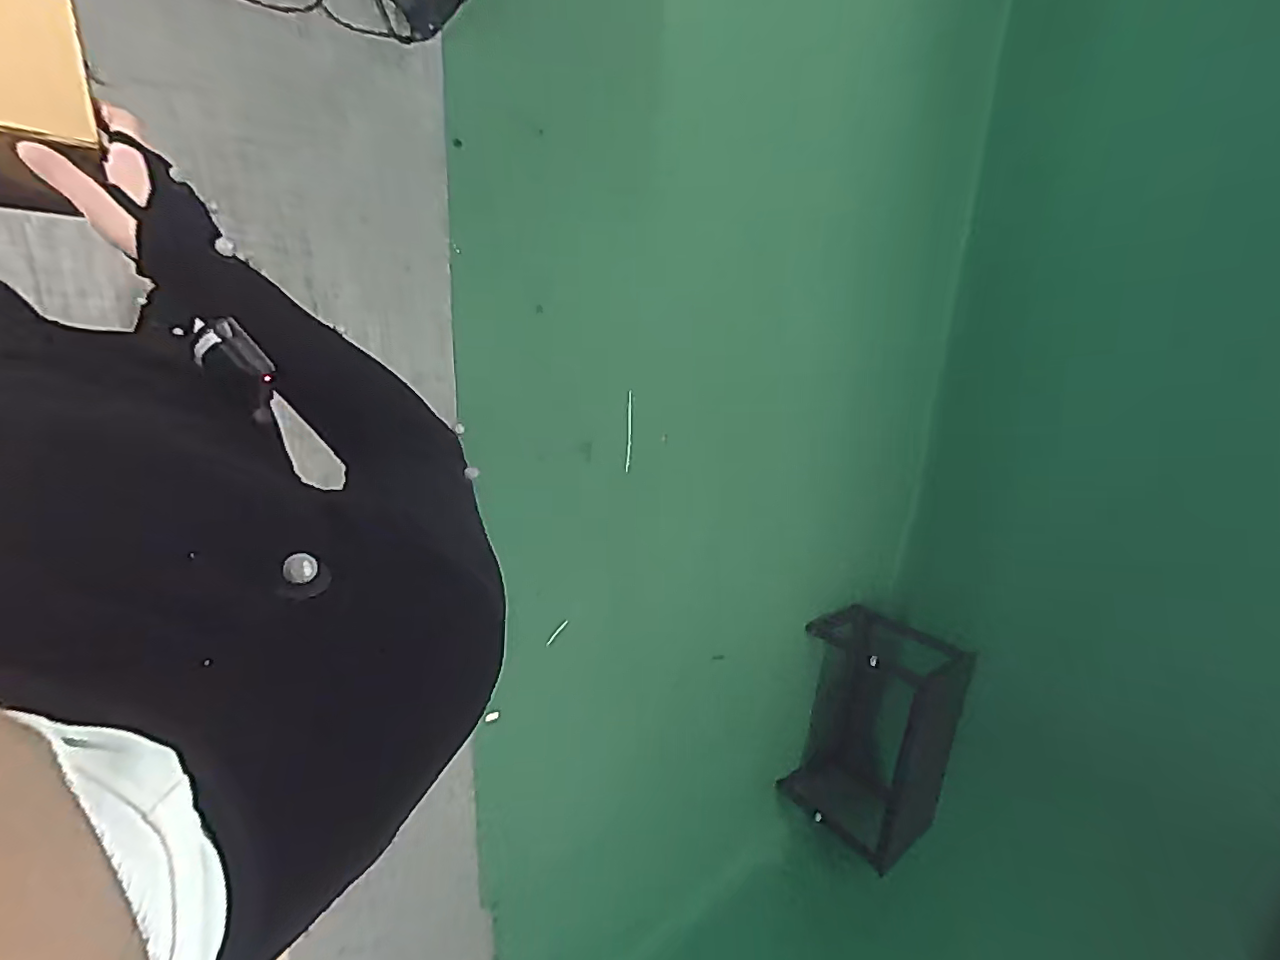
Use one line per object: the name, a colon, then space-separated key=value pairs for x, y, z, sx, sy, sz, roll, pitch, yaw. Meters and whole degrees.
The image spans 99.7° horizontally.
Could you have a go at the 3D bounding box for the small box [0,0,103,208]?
small box: x=-0.561 y=-0.348 z=0.431 sx=0.168 sy=0.176 sz=0.179 roll=-13 pitch=100 yaw=-43
